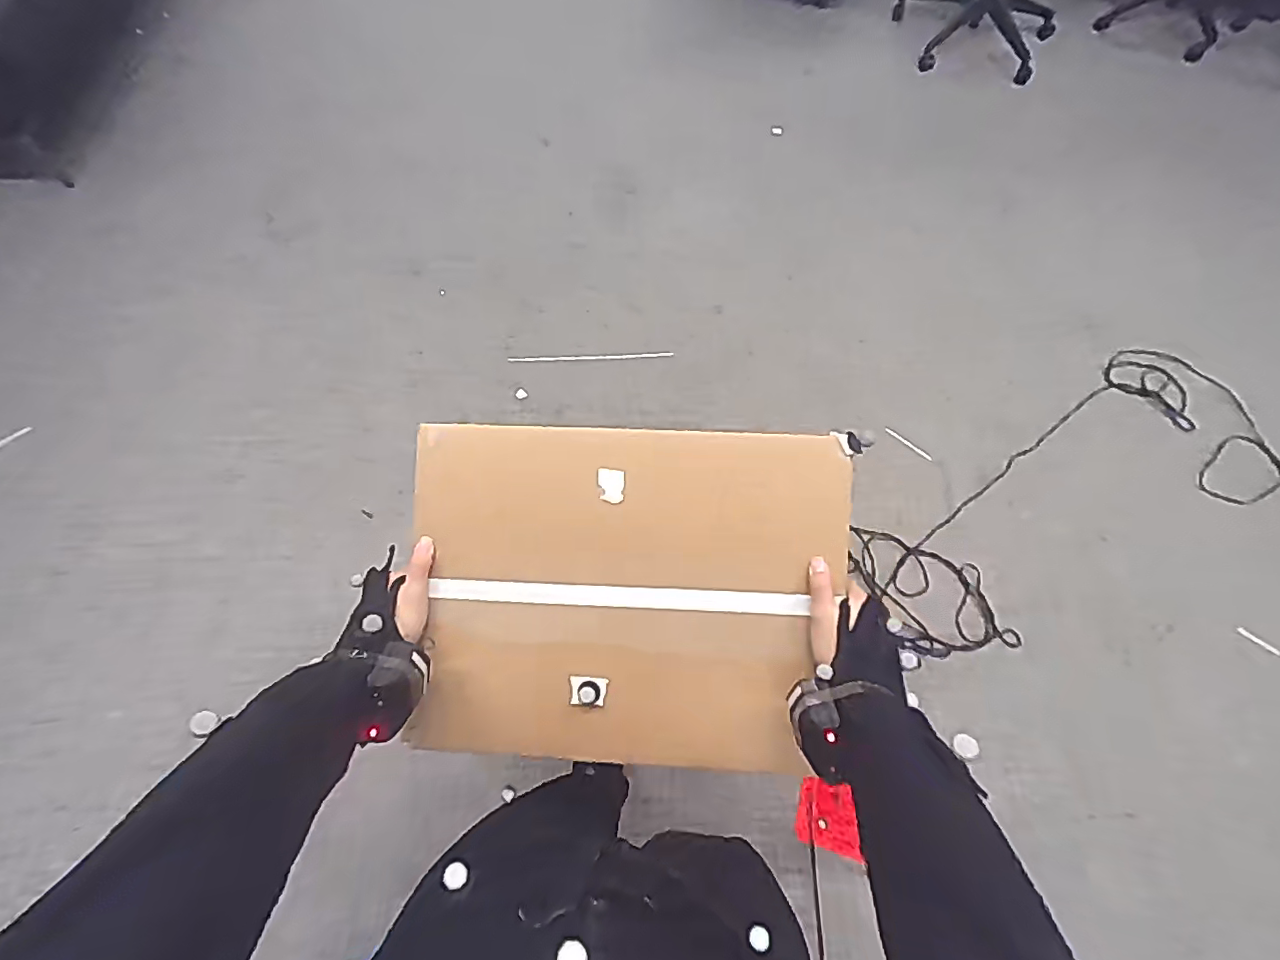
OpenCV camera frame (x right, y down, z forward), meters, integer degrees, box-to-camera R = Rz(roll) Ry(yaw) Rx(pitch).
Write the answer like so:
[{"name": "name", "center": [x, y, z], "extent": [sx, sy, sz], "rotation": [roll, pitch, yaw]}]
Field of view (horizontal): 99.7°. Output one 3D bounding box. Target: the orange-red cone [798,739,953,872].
[{"name": "orange-red cone", "center": [0.433, 0.583, 0.935], "extent": [0.199, 0.360, 0.198], "rotation": [17, 67, 7]}]
